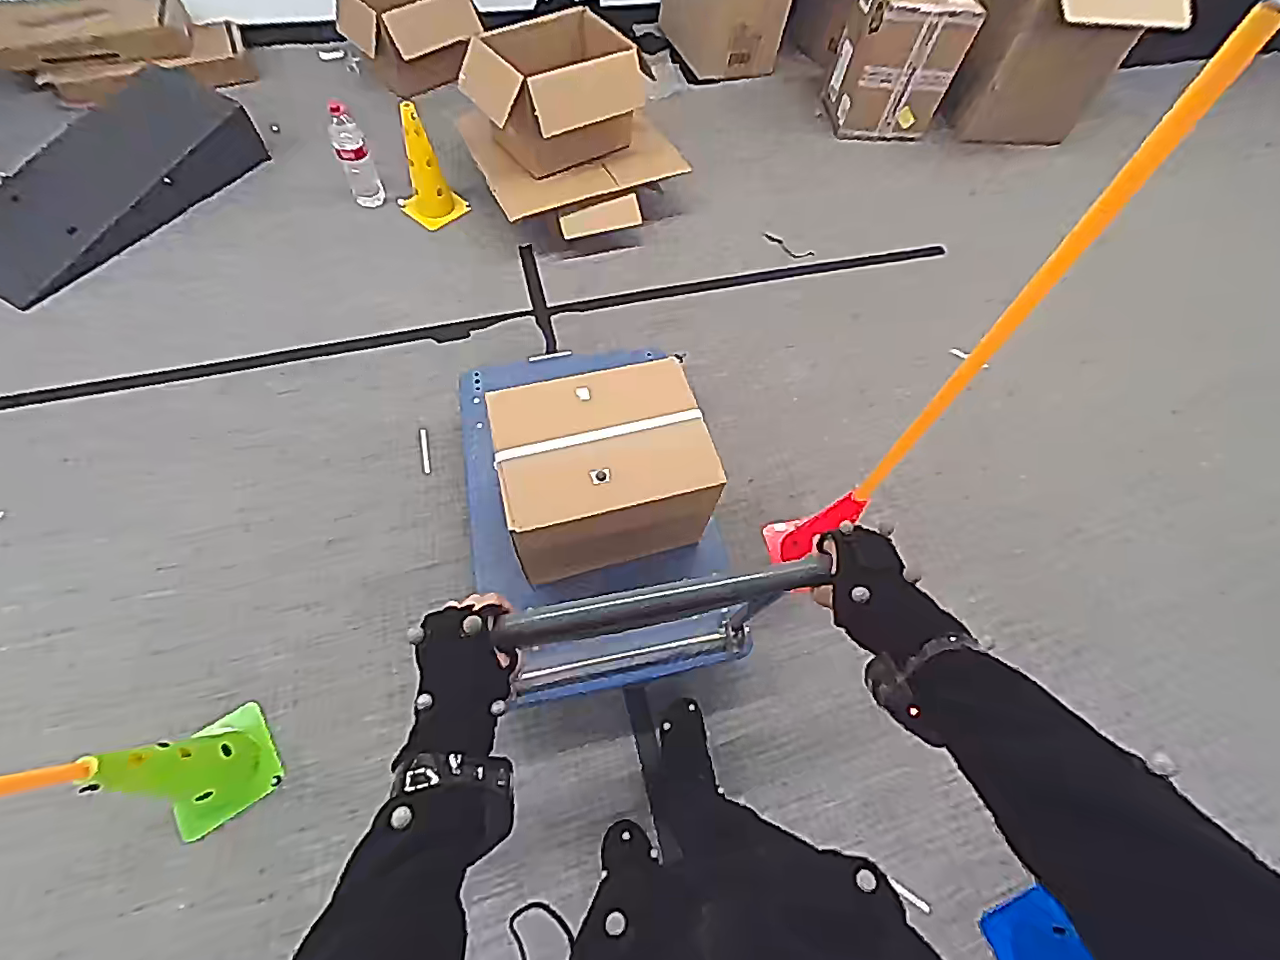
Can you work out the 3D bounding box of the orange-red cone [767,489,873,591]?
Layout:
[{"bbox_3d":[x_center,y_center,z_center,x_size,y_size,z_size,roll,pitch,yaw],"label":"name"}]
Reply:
[{"bbox_3d":[0.468,0.116,1.308,0.199,0.360,0.198,-6,63,-9],"label":"orange-red cone"}]

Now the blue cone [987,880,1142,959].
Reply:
[{"bbox_3d":[0.831,0.870,0.949,0.193,0.380,0.192,-16,63,-13],"label":"blue cone"}]
